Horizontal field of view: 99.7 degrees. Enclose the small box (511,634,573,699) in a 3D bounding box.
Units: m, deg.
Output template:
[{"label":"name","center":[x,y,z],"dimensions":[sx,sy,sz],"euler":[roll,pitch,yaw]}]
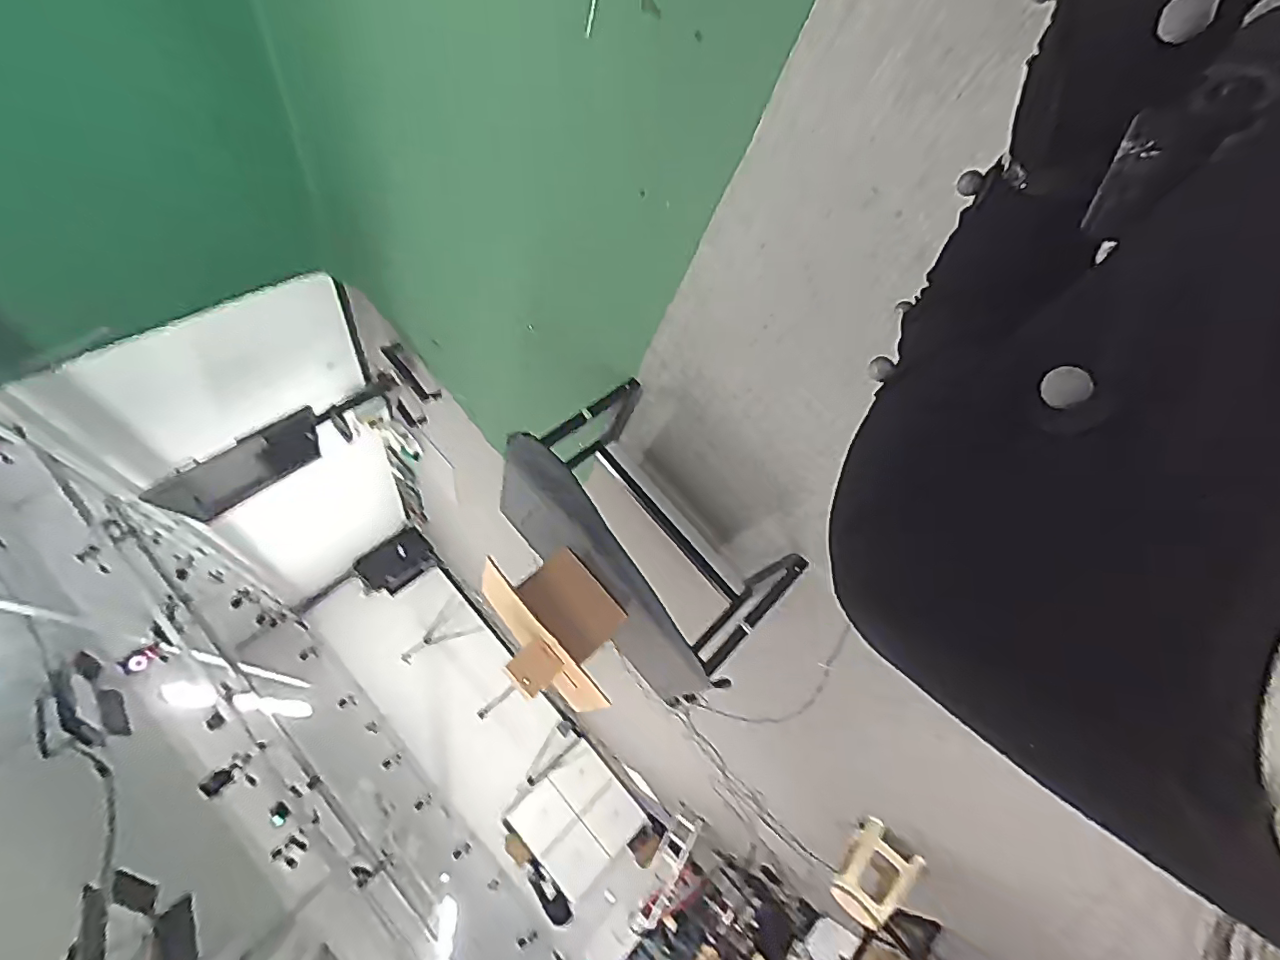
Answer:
[{"label":"small box","center":[-0.381,0.723,2.100],"dimensions":[0.168,0.176,0.179],"euler":[47,152,7]}]
